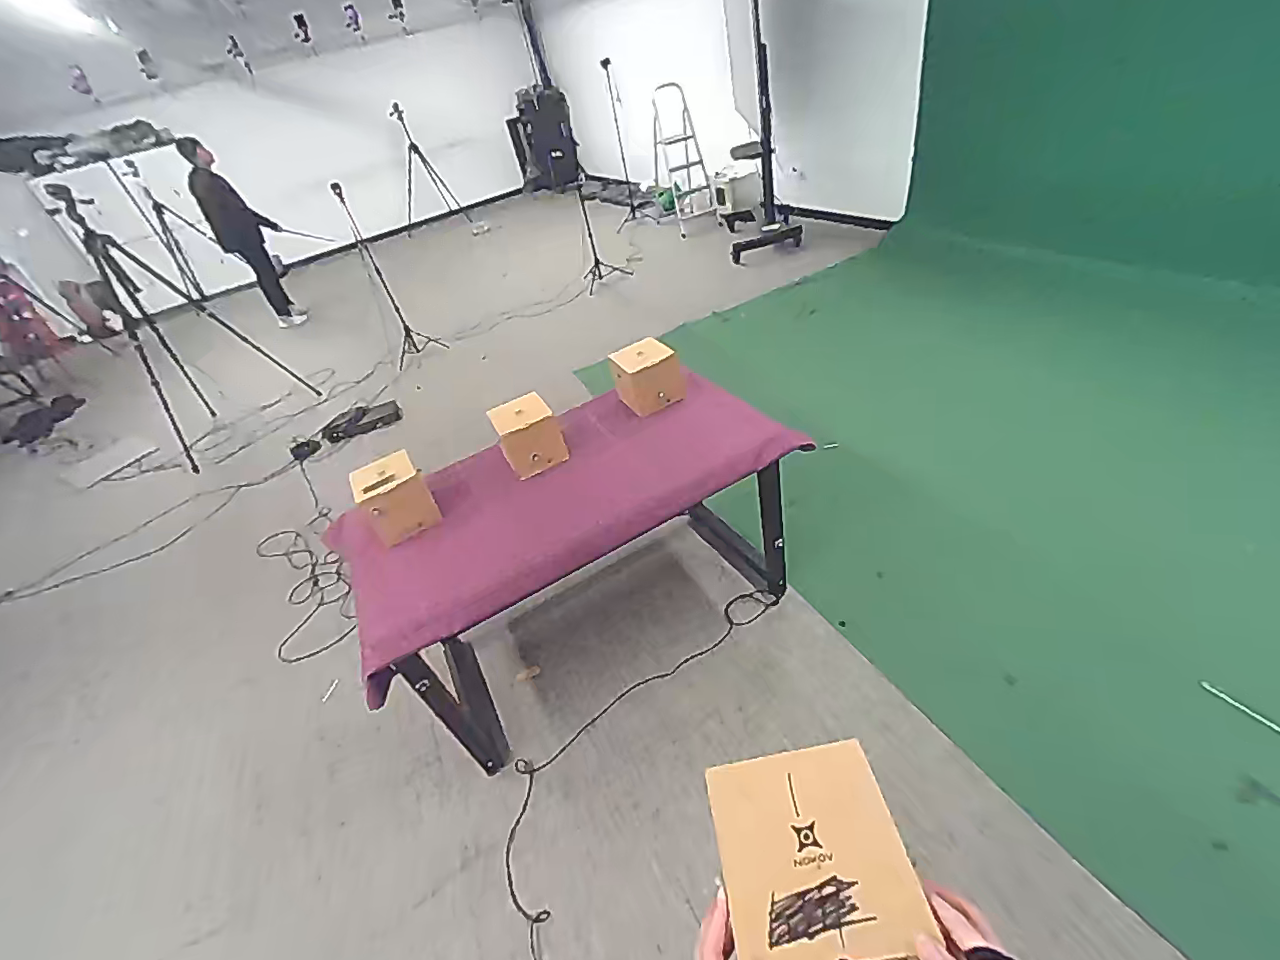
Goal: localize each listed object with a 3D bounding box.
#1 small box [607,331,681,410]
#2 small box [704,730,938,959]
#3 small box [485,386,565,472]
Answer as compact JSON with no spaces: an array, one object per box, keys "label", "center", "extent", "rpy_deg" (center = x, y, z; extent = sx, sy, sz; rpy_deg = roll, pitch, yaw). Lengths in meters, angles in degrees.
[{"label":"small box","center":[0.014,-0.354,1.753],"extent":[0.168,0.176,0.179],"rpy_deg":[-28,41,-12]},{"label":"small box","center":[0.170,0.390,0.546],"extent":[0.168,0.176,0.179],"rpy_deg":[-13,37,3]},{"label":"small box","center":[-0.345,-0.154,1.630],"extent":[0.168,0.176,0.179],"rpy_deg":[-26,41,-15]}]
